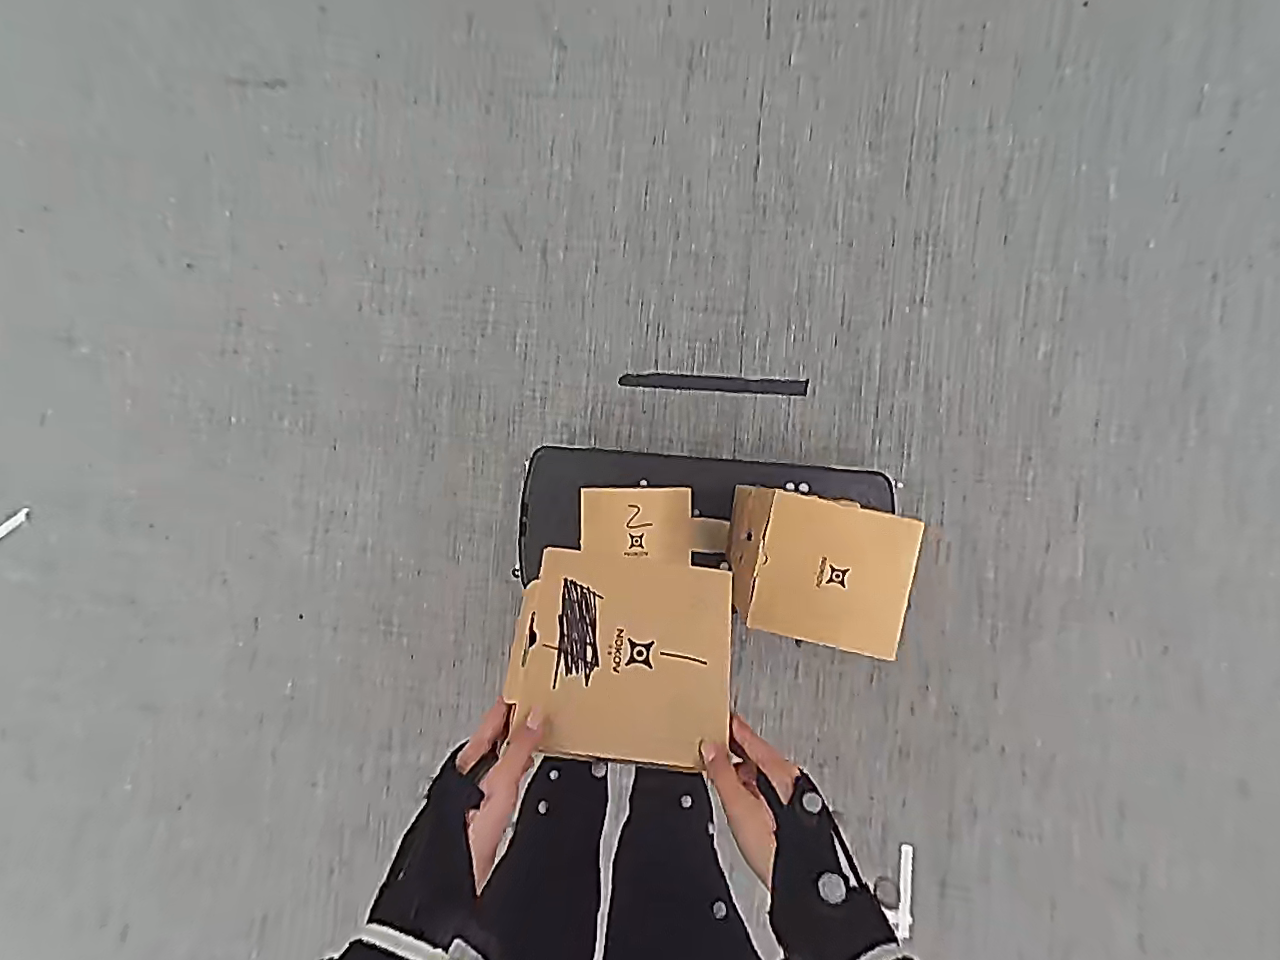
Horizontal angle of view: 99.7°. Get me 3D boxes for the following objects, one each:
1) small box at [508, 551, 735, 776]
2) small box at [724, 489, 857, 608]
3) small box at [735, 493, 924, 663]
[{"bbox_3d":[-0.015,0.183,0.520,0.179,0.176,0.168,8,61,-3],"label":"small box"},{"bbox_3d":[0.229,0.112,0.862,0.168,0.176,0.179,9,90,4],"label":"small box"},{"bbox_3d":[0.228,0.111,0.698,0.179,0.176,0.168,12,91,5],"label":"small box"}]
